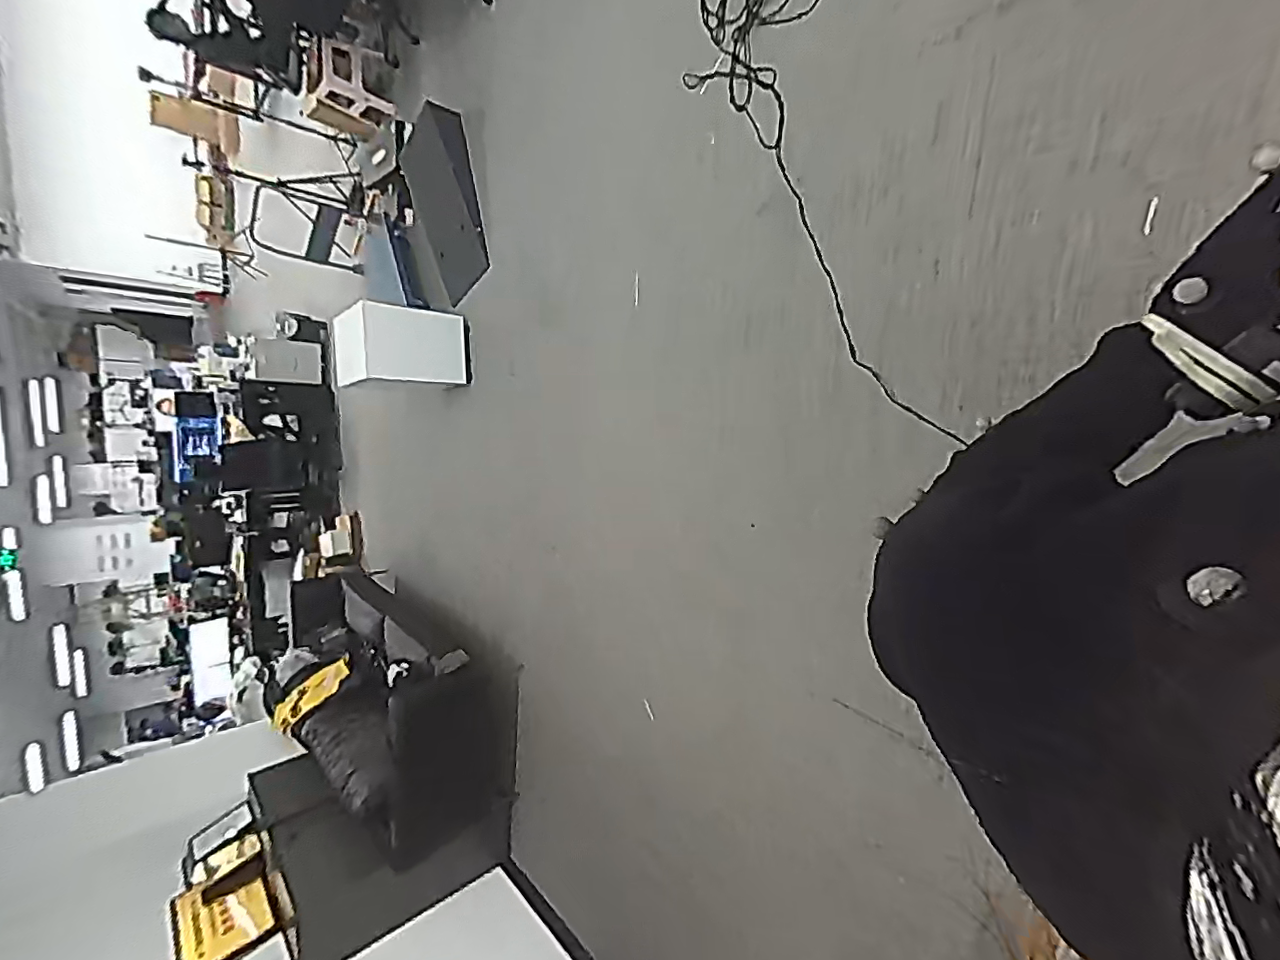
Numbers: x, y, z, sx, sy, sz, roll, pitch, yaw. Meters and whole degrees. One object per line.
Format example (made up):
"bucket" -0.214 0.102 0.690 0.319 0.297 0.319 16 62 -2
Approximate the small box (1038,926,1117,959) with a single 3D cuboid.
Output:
"small box" 0.987 1.157 1.197 0.168 0.176 0.179 4 96 48
